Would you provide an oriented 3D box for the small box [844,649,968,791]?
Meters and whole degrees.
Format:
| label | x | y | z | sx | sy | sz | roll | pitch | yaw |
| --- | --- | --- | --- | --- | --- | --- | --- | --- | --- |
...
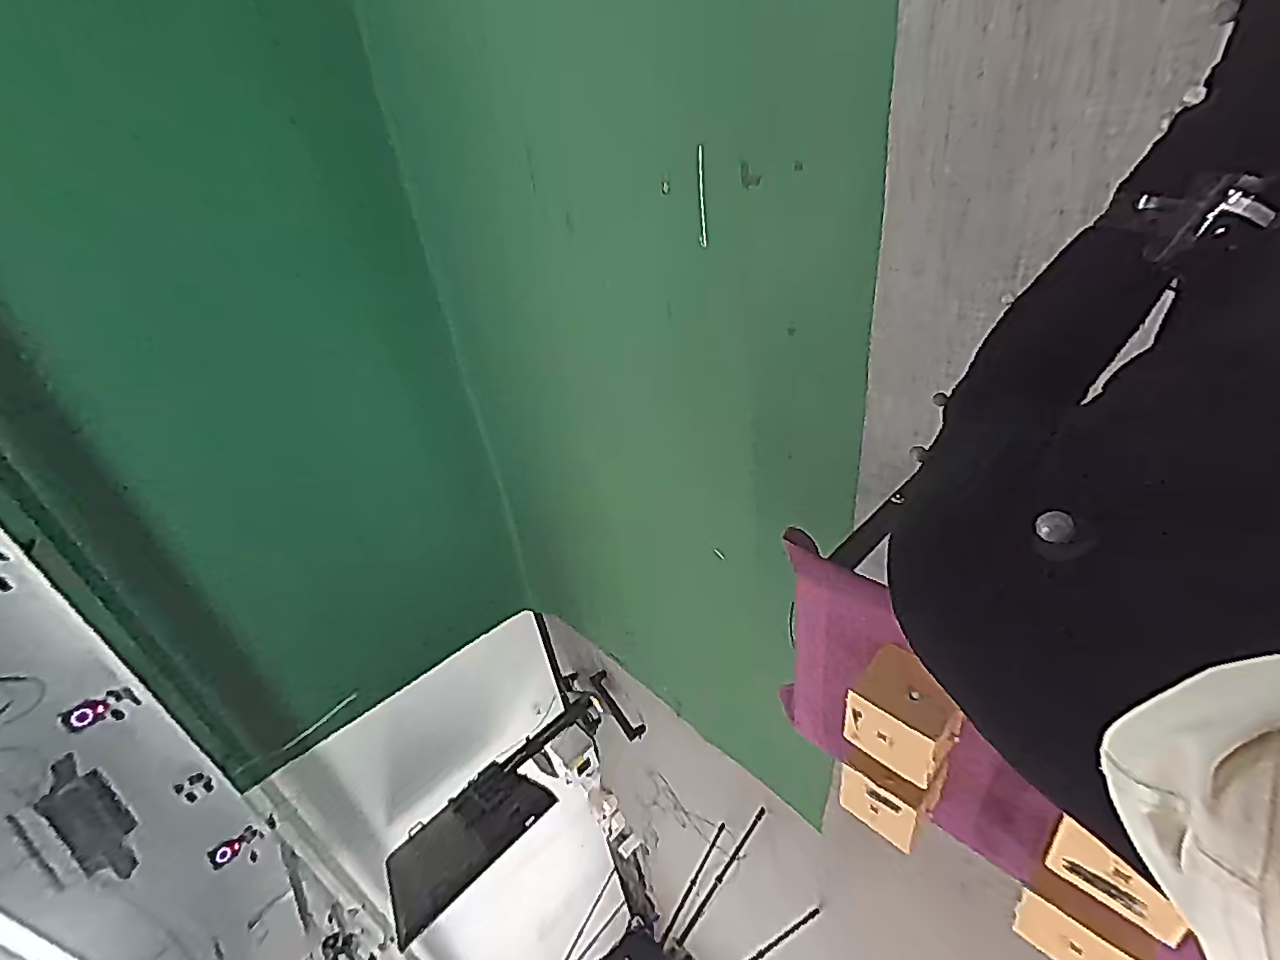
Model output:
| label | x | y | z | sx | sy | sz | roll | pitch | yaw |
| --- | --- | --- | --- | --- | --- | --- | --- | --- | --- |
| small box | 0.550 | 0.486 | 1.121 | 0.179 | 0.176 | 0.168 | 24 | 134 | 41 |

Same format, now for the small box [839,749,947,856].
| label | x | y | z | sx | sy | sz | roll | pitch | yaw |
| --- | --- | --- | --- | --- | --- | --- | --- | --- | --- |
| small box | 0.583 | 0.701 | 1.248 | 0.168 | 0.176 | 0.179 | 23 | 133 | 43 |

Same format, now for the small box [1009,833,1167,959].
| label | x | y | z | sx | sy | sz | roll | pitch | yaw |
| --- | --- | --- | --- | --- | --- | --- | --- | --- | --- |
| small box | 0.825 | 0.800 | 1.001 | 0.179 | 0.176 | 0.168 | 21 | 131 | 44 |
